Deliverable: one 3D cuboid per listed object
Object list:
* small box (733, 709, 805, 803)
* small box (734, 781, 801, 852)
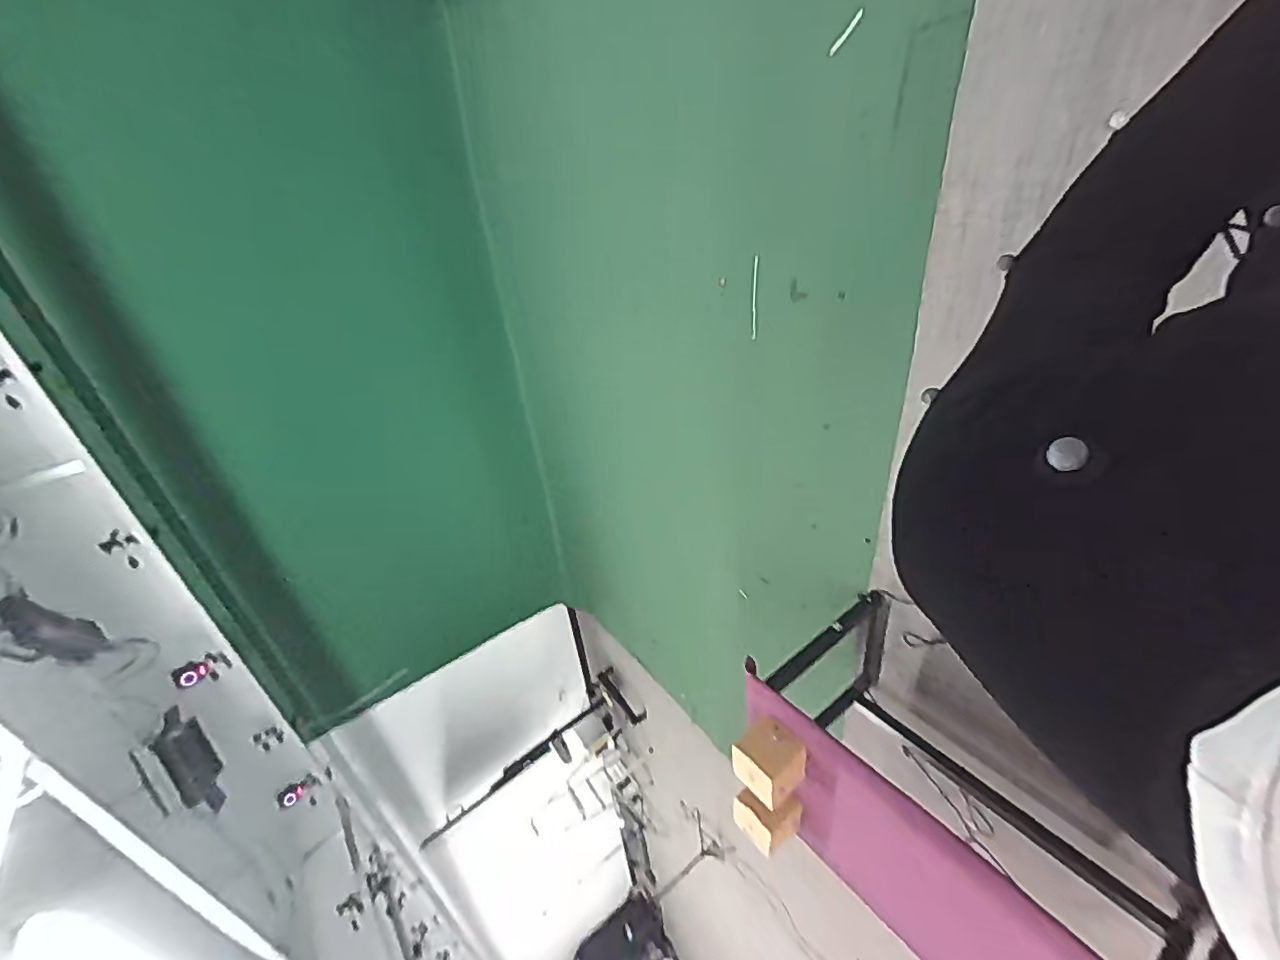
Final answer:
[{"bbox_3d":[0.422,0.897,1.767,0.168,0.176,0.179,29,137,44],"label":"small box"},{"bbox_3d":[0.456,1.164,1.933,0.168,0.176,0.179,32,136,44],"label":"small box"}]
